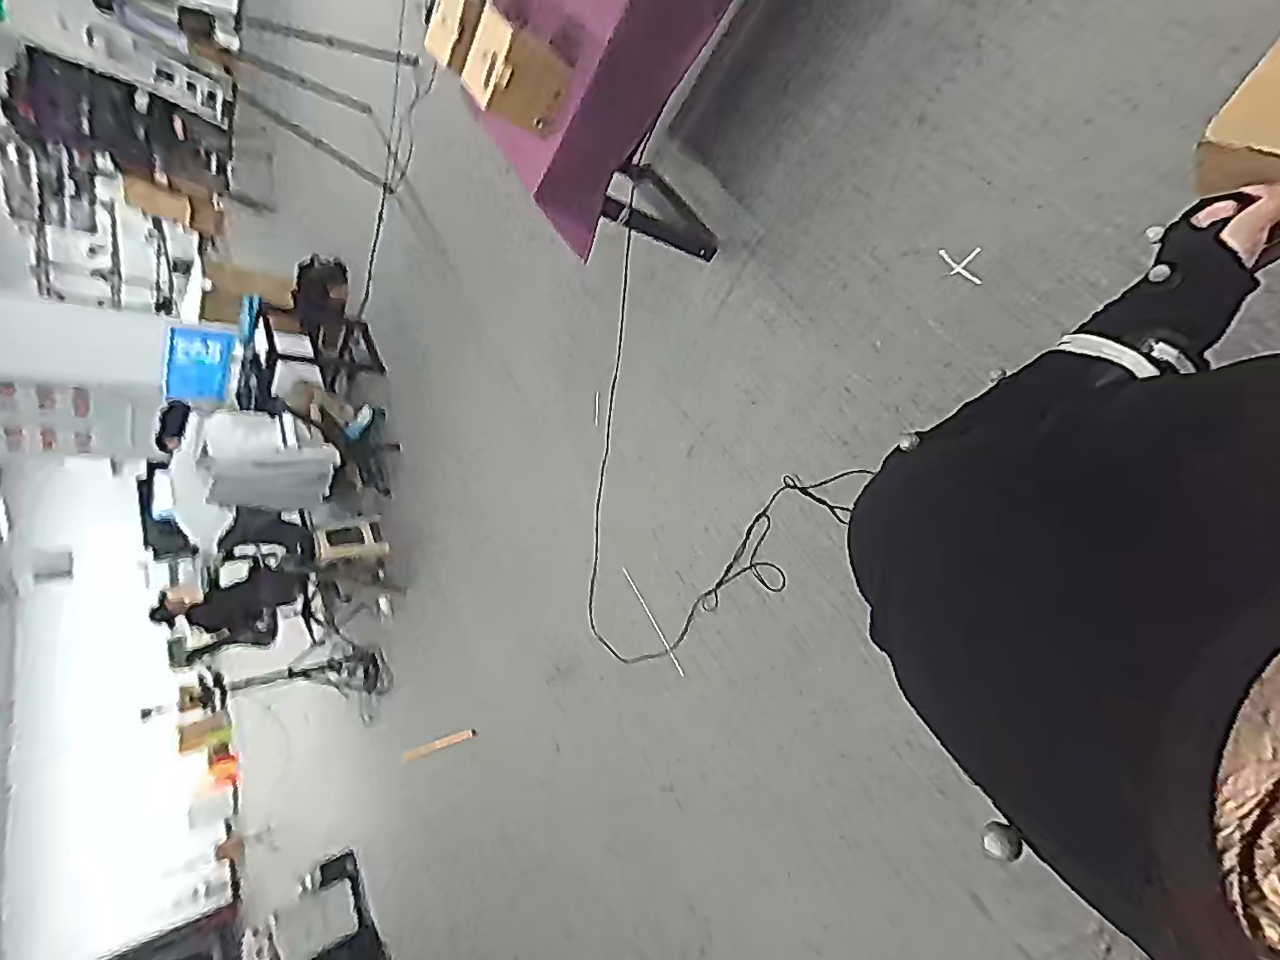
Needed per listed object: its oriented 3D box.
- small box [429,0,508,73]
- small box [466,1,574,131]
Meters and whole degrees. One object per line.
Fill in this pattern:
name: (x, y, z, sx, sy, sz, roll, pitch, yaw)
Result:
small box: (-0.425, -1.172, 1.424, 0.168, 0.176, 0.179, -53, 58, 31)
small box: (-0.283, -0.973, 1.288, 0.168, 0.176, 0.179, -50, 57, 32)
